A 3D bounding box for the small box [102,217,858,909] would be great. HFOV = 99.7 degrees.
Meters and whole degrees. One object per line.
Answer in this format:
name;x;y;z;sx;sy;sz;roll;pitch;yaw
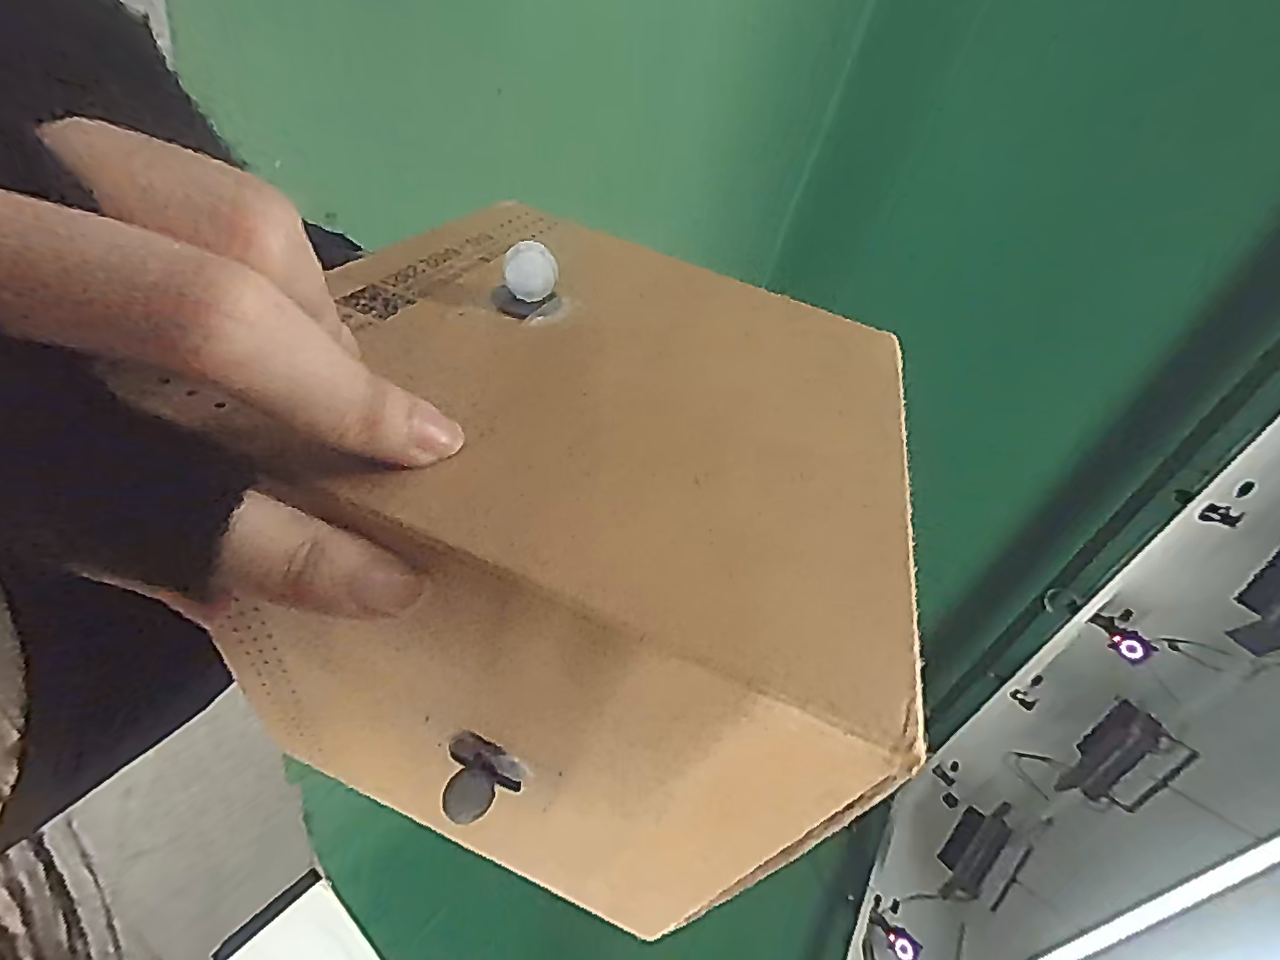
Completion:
small box;-0.035;0.024;0.216;0.168;0.176;0.179;-62;171;-49
